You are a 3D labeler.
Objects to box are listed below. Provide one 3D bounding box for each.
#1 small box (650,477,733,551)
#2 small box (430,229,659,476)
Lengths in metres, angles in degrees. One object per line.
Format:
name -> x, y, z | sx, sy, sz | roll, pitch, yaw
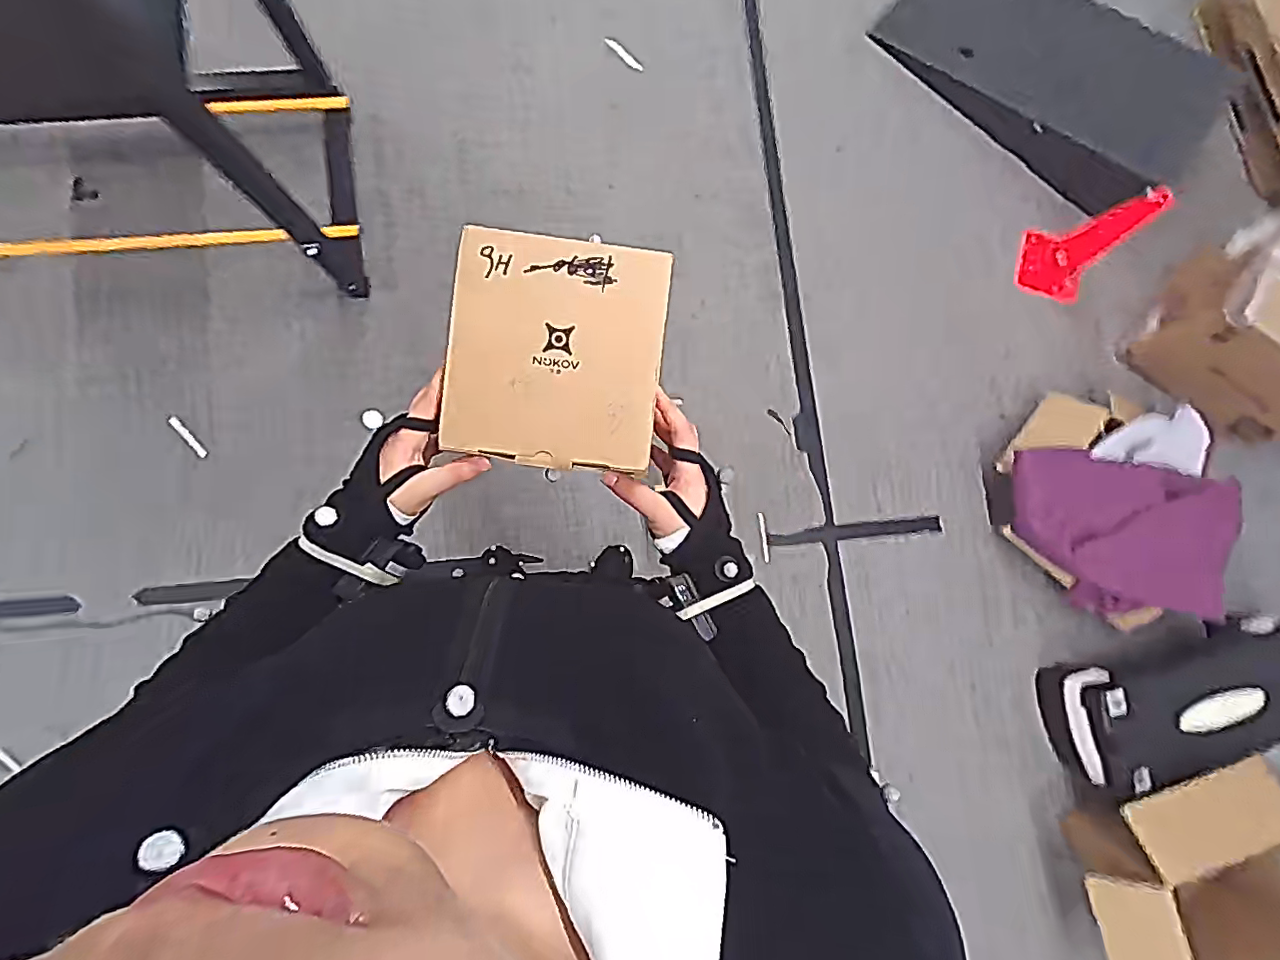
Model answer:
small box -> 0.133, 0.092, 1.451 | 0.179, 0.176, 0.168 | -12, 85, -4
small box -> -0.077, -0.101, 0.496 | 0.168, 0.176, 0.179 | 6, 92, -3
